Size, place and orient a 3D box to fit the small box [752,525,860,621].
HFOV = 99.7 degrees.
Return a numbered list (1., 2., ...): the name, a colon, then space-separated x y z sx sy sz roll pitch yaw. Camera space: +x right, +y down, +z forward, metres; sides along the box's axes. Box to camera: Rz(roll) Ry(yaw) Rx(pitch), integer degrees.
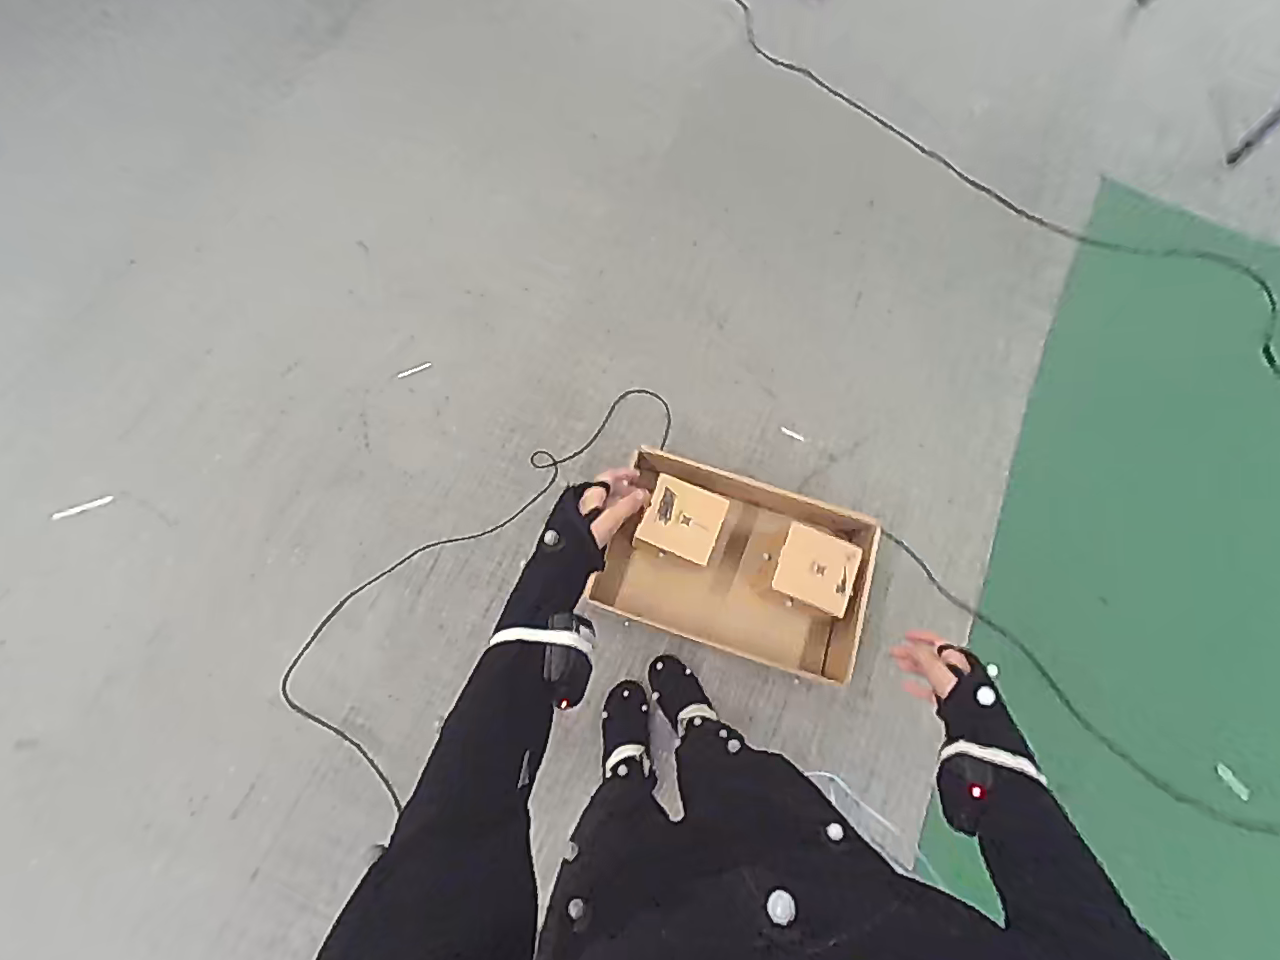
1. small box: 0.386 0.229 1.287 0.179 0.176 0.168 23 74 4
